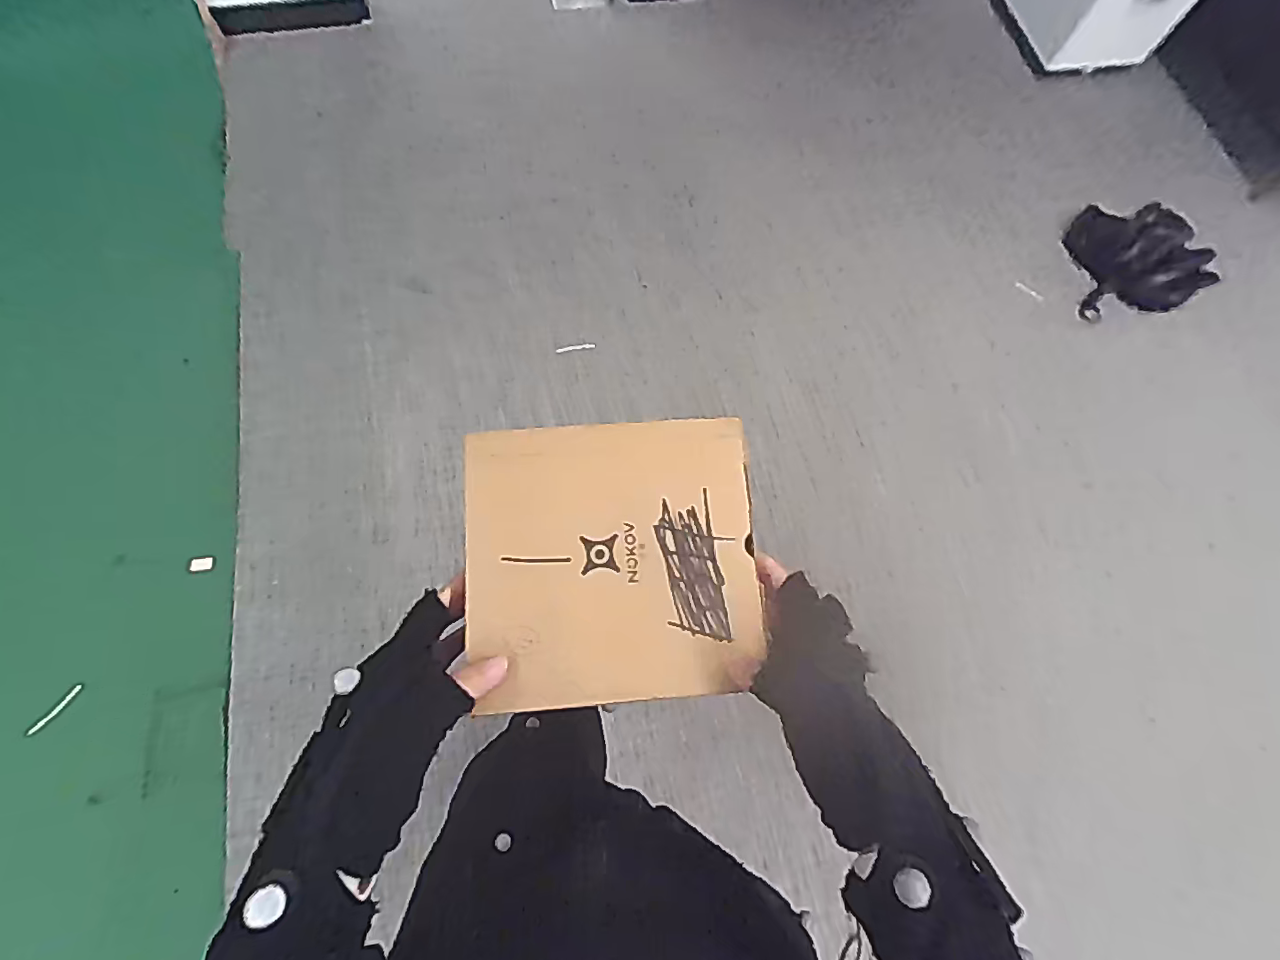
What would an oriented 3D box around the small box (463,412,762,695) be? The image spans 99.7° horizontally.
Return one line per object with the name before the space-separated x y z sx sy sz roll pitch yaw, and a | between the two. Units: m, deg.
small box | -0.024 0.056 0.406 0.179 0.176 0.168 -3 76 -4
